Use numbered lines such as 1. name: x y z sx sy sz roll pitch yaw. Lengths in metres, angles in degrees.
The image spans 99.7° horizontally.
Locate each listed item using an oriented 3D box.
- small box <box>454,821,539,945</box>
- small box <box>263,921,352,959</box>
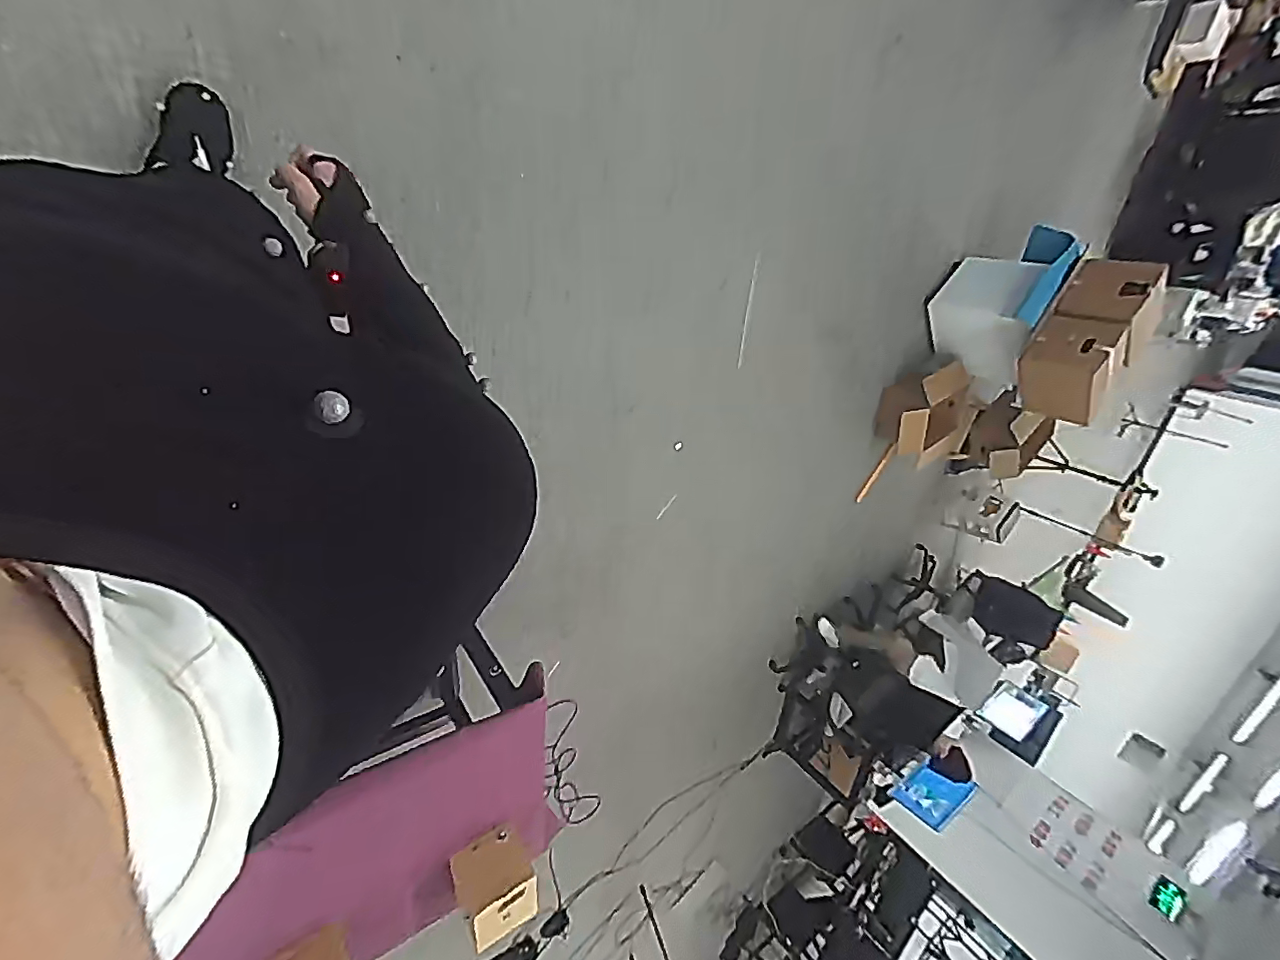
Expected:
1. small box: -0.377 1.041 1.417 0.168 0.176 0.179 -14 122 -33
2. small box: -0.721 1.126 1.184 0.168 0.176 0.179 -13 121 -34
